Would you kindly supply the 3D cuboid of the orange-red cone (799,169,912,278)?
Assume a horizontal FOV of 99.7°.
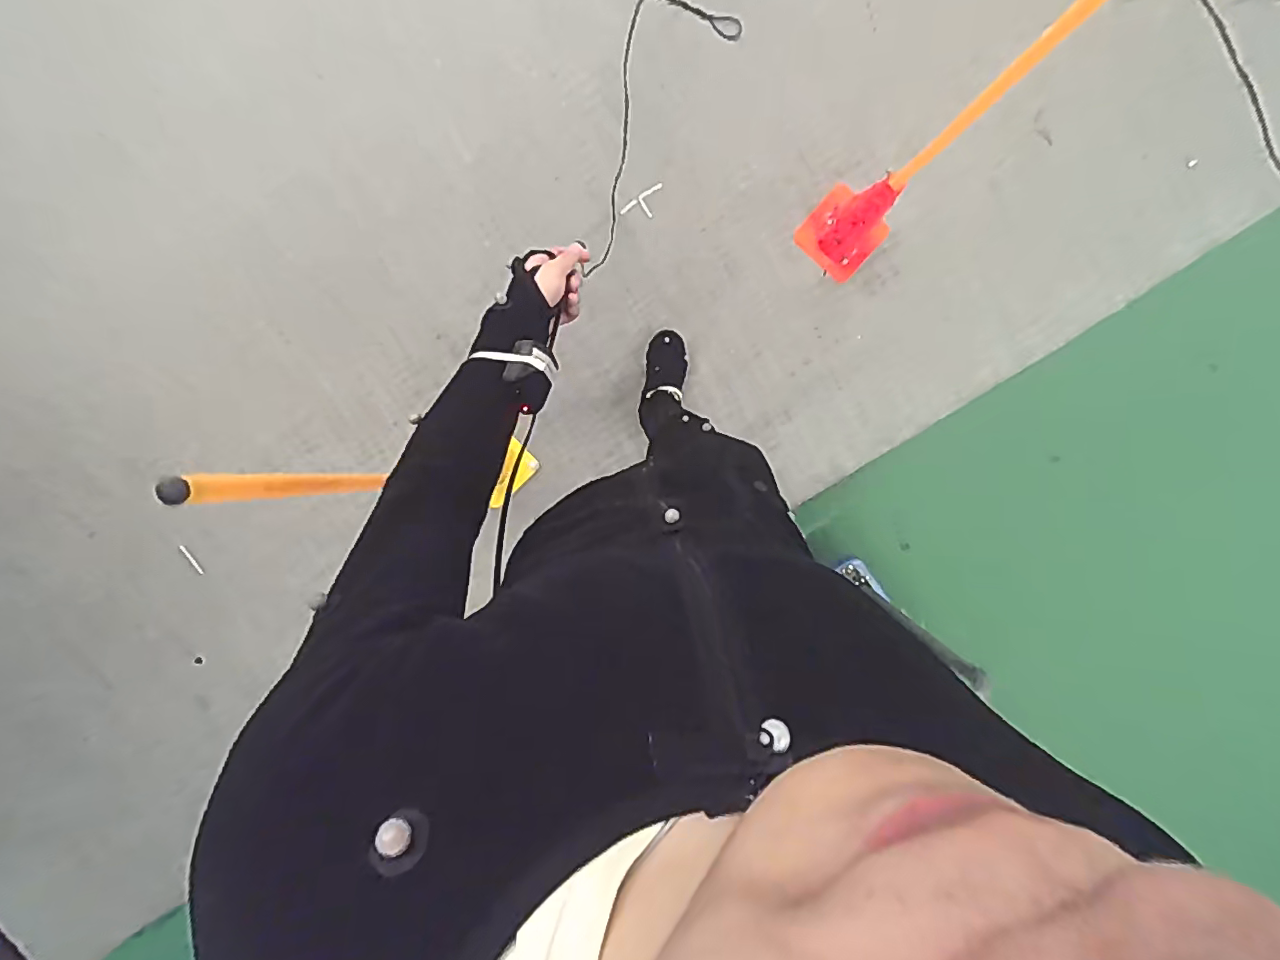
[{"bbox_3d":[0.564,-0.667,1.324,0.198,0.360,0.199,42,95,-5],"label":"orange-red cone"}]
